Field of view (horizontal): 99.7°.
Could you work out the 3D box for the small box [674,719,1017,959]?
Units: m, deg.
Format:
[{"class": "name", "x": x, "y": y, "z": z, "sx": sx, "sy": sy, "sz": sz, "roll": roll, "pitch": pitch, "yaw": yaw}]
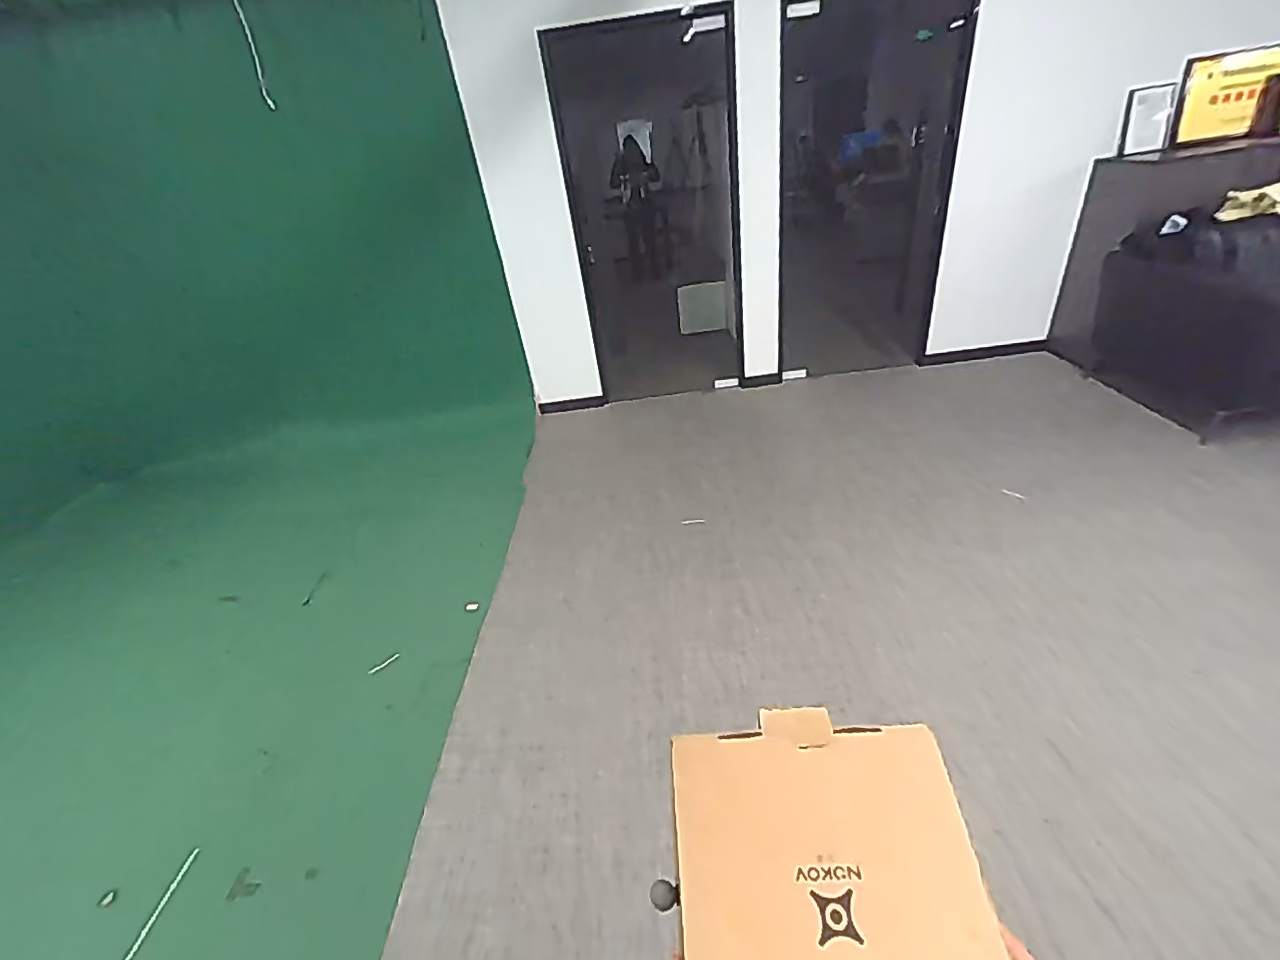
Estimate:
[{"class": "small box", "x": 0.111, "y": 0.273, "z": 0.351, "sx": 0.168, "sy": 0.176, "sz": 0.179, "roll": -4, "pitch": 50, "yaw": 1}]
